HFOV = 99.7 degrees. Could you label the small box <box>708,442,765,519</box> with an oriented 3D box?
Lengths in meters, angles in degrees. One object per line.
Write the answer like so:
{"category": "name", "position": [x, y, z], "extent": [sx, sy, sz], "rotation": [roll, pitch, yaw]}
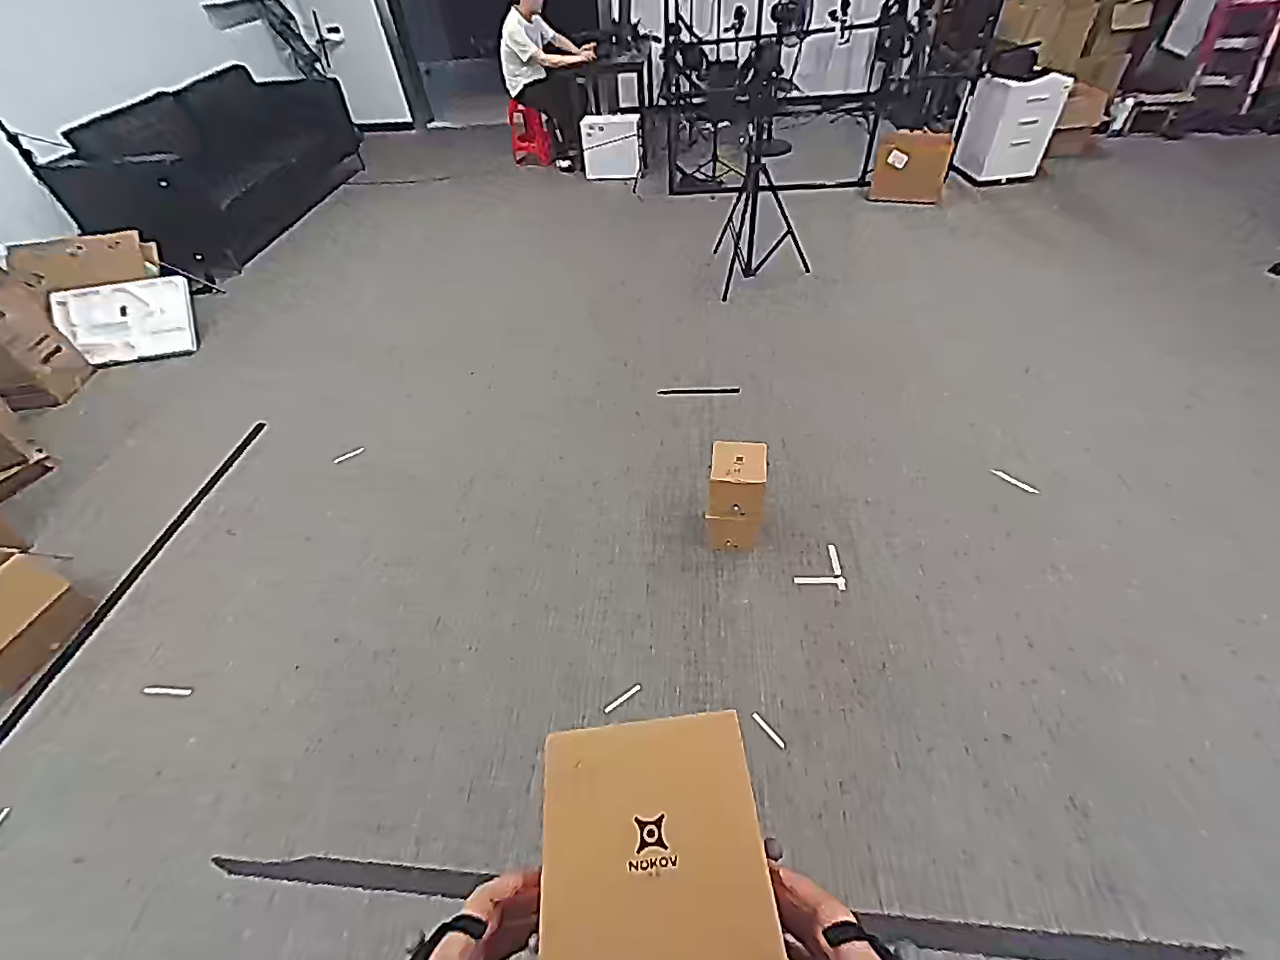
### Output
{"category": "small box", "position": [0.303, 0.000, 1.710], "extent": [0.168, 0.176, 0.179], "rotation": [3, 47, 10]}
